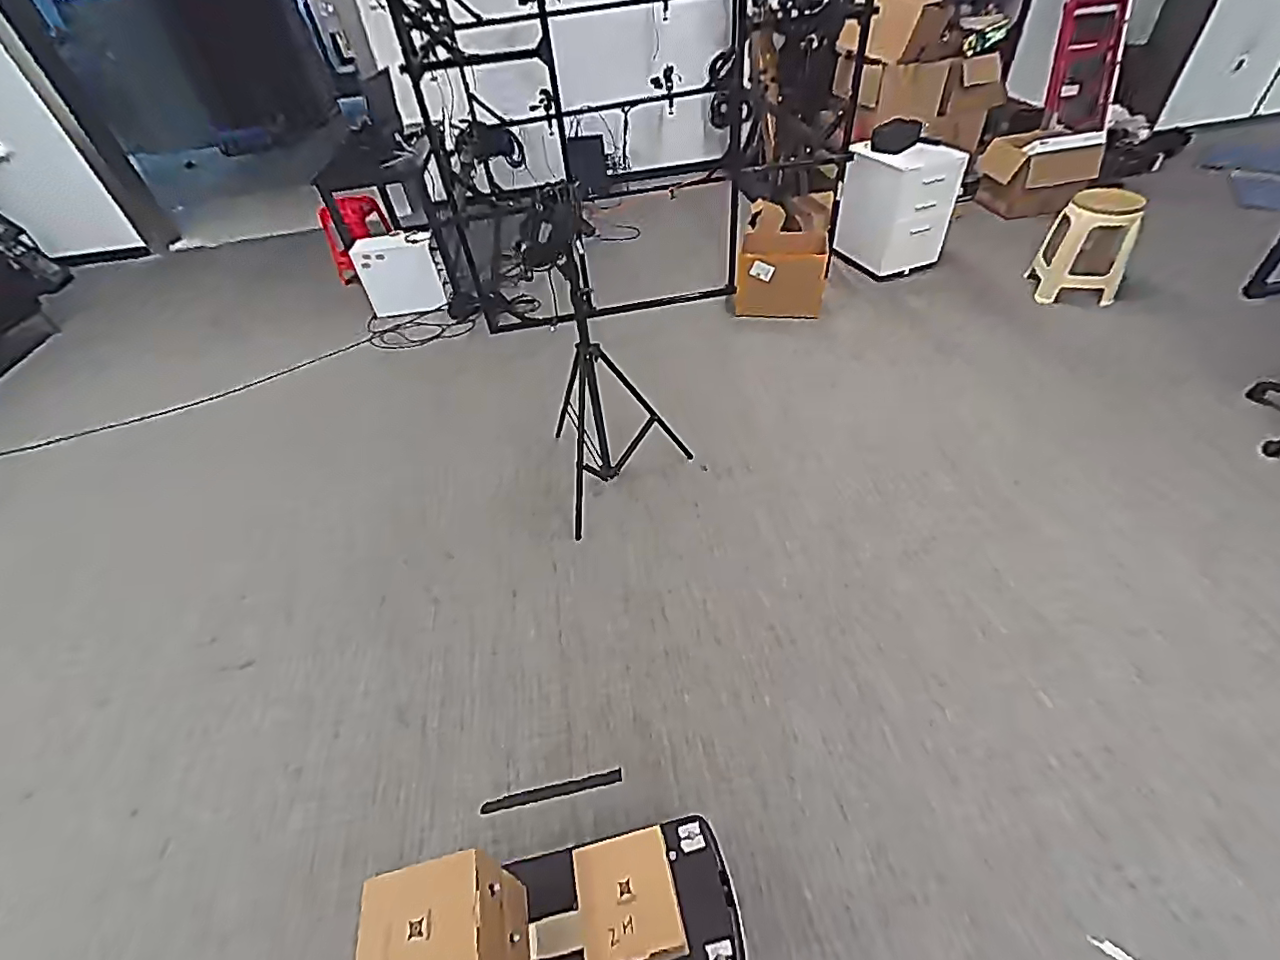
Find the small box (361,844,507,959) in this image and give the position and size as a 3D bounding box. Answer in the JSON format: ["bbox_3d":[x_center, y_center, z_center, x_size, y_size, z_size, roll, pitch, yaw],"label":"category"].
[{"bbox_3d":[-0.314,0.709,0.853,0.179,0.176,0.168,-14,44,-7],"label":"small box"}]

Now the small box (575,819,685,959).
[{"bbox_3d":[-0.017,0.762,0.994,0.168,0.176,0.179,-13,45,-4],"label":"small box"}]

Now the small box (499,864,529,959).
[{"bbox_3d":[-0.300,0.824,0.968,0.179,0.176,0.168,-13,45,-6],"label":"small box"}]
